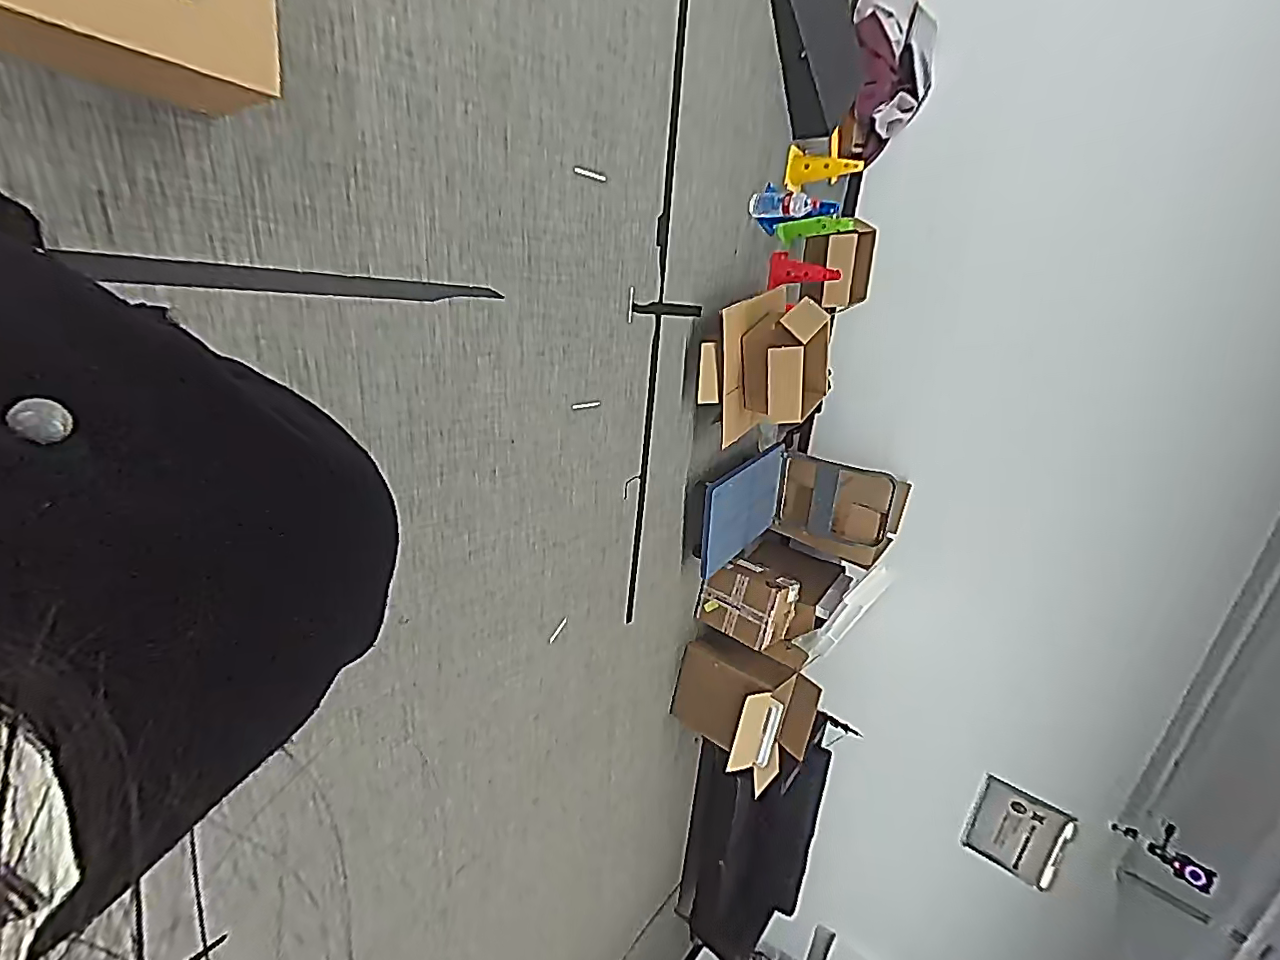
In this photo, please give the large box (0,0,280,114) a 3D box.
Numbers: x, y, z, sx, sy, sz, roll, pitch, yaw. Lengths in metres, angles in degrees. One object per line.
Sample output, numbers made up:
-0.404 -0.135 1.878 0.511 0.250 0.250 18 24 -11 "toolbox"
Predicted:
-0.829 -0.794 0.794 0.408 0.320 0.320 -16 119 -51 "large box"
